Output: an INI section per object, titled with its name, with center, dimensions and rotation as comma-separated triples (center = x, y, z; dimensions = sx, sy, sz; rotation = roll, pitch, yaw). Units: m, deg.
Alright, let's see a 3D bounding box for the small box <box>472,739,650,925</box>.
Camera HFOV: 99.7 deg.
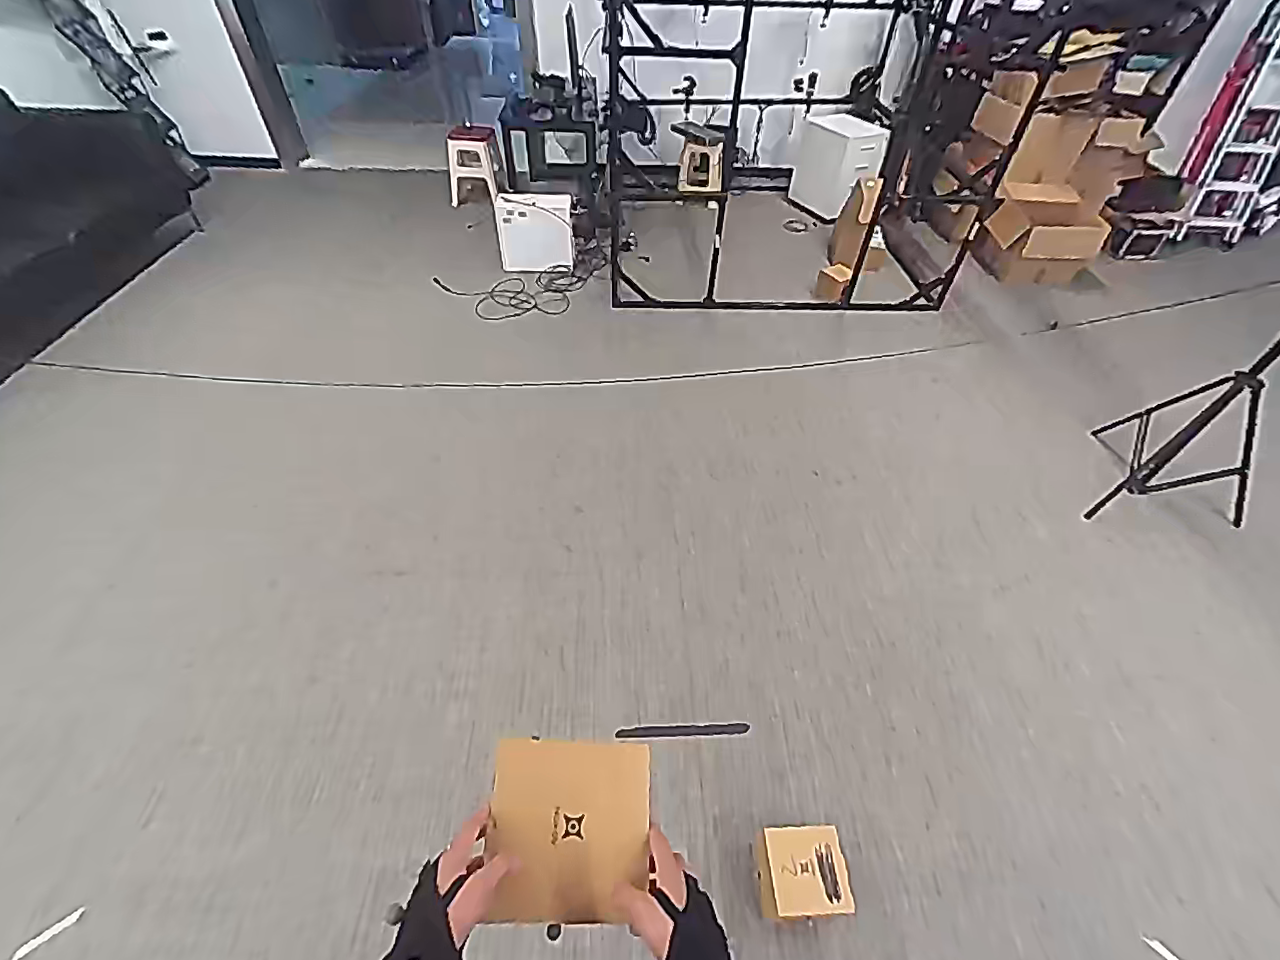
[small box]
center = -0.084, 0.409, 0.645
dimensions = 0.179, 0.176, 0.168
rotation = 3, 59, -4
